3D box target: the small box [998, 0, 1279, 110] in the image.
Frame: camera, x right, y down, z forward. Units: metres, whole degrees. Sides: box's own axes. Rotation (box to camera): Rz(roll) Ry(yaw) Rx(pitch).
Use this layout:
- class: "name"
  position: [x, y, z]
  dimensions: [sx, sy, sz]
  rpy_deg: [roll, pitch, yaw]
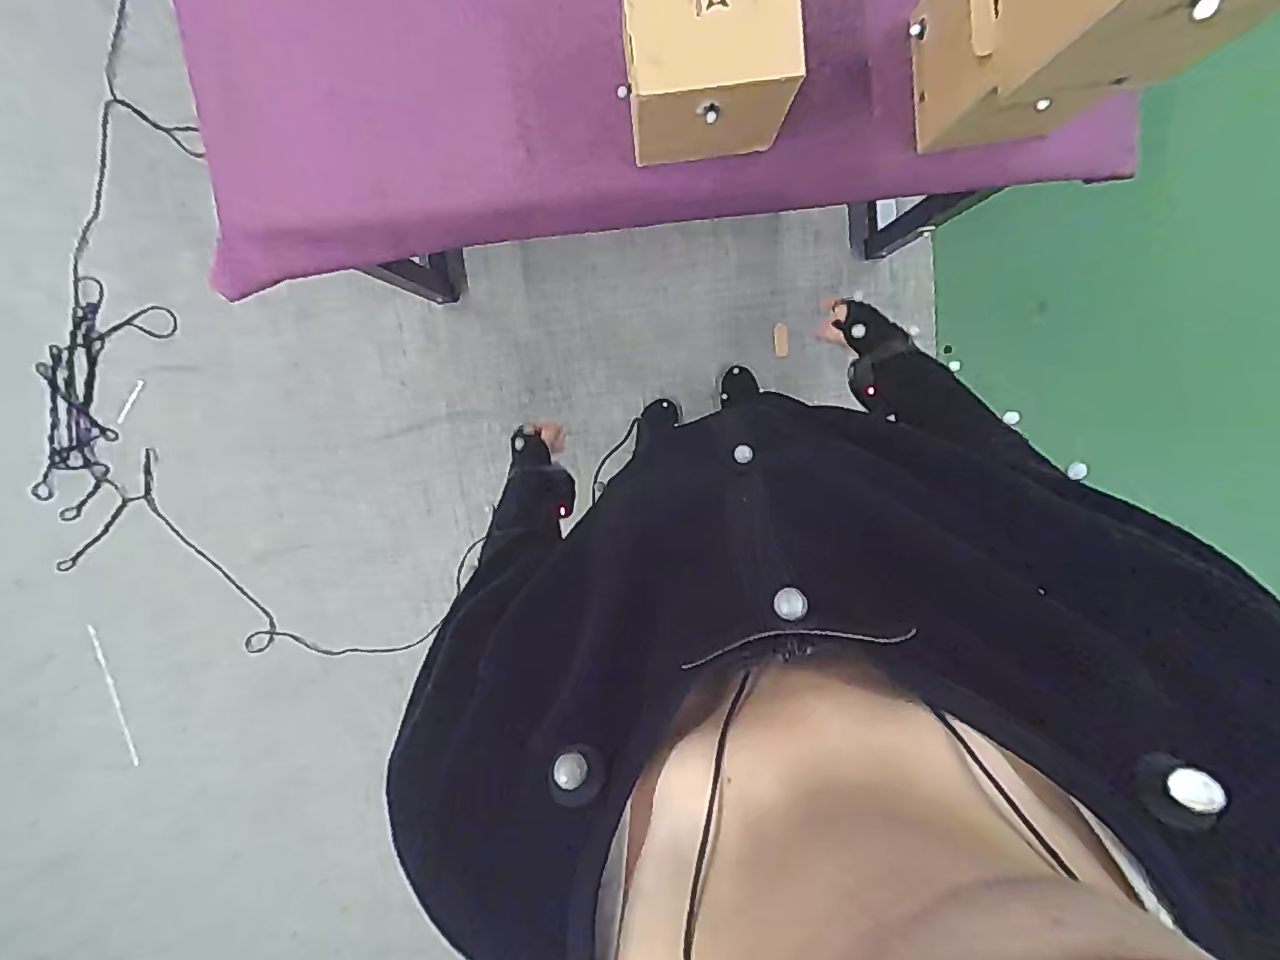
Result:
- class: "small box"
  position: [0.430, -0.453, 0.451]
  dimensions: [0.168, 0.176, 0.179]
  rpy_deg: [-5, 98, 3]

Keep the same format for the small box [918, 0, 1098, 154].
- class: "small box"
  position: [0.434, -0.497, 0.610]
  dimensions: [0.179, 0.176, 0.168]
  rpy_deg: [-8, 99, 2]

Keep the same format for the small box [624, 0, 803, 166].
- class: "small box"
  position: [0.075, -0.485, 0.620]
  dimensions: [0.179, 0.176, 0.168]
  rpy_deg: [-5, 98, 2]
